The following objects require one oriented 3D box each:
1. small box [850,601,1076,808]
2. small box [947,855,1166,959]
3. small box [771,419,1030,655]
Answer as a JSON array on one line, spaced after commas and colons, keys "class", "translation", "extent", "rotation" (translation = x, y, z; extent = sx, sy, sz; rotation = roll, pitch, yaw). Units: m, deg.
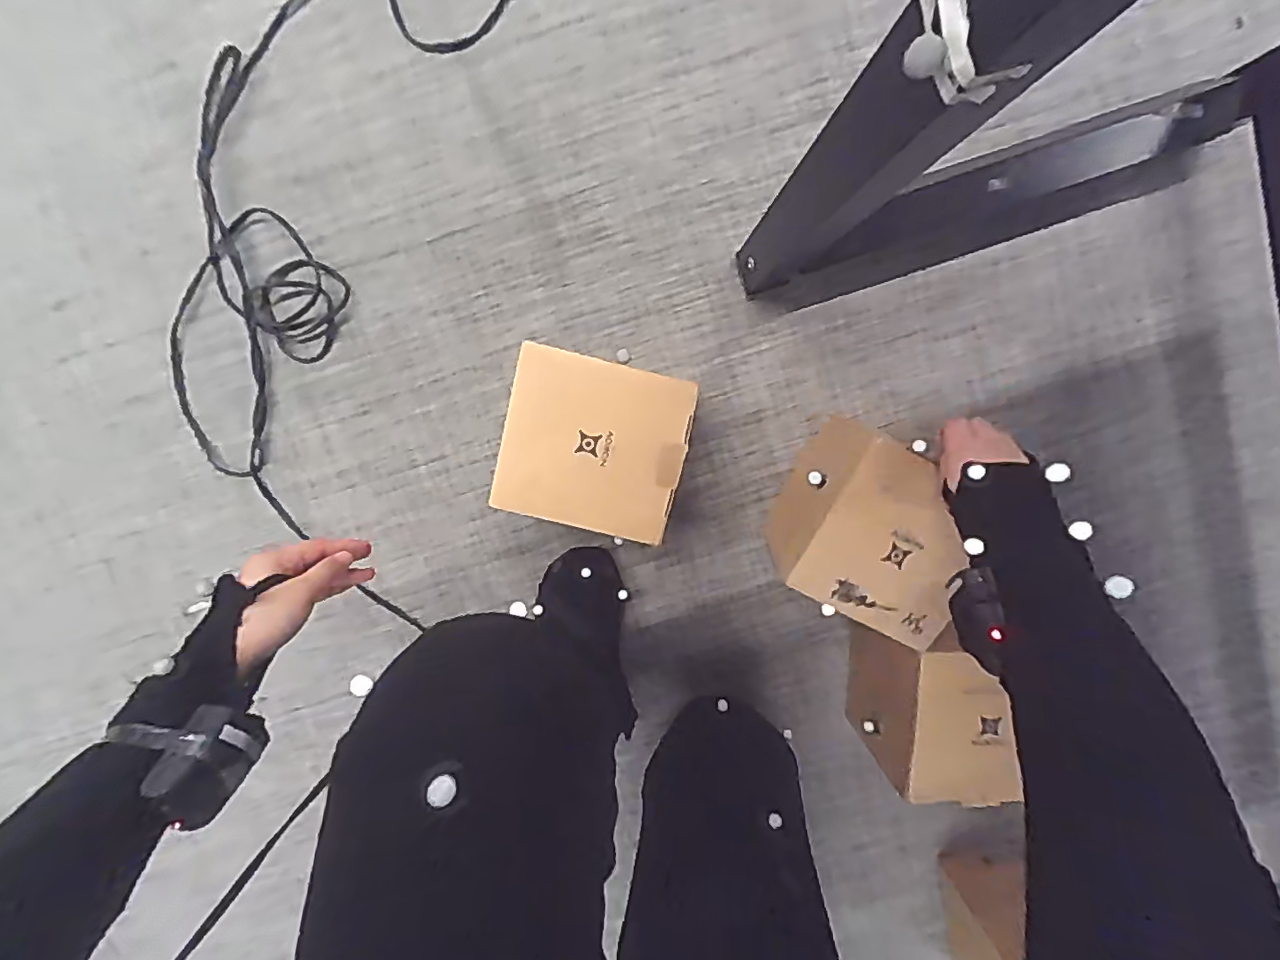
[{"class": "small box", "translation": [0.363, 0.250, 0.640], "extent": [0.168, 0.176, 0.179], "rotation": [-1, 96, -2]}, {"class": "small box", "translation": [0.521, 0.619, 0.689], "extent": [0.168, 0.176, 0.179], "rotation": [-12, 98, 1]}, {"class": "small box", "translation": [0.263, 0.048, 0.599], "extent": [0.168, 0.176, 0.179], "rotation": [27, 106, -2]}]
